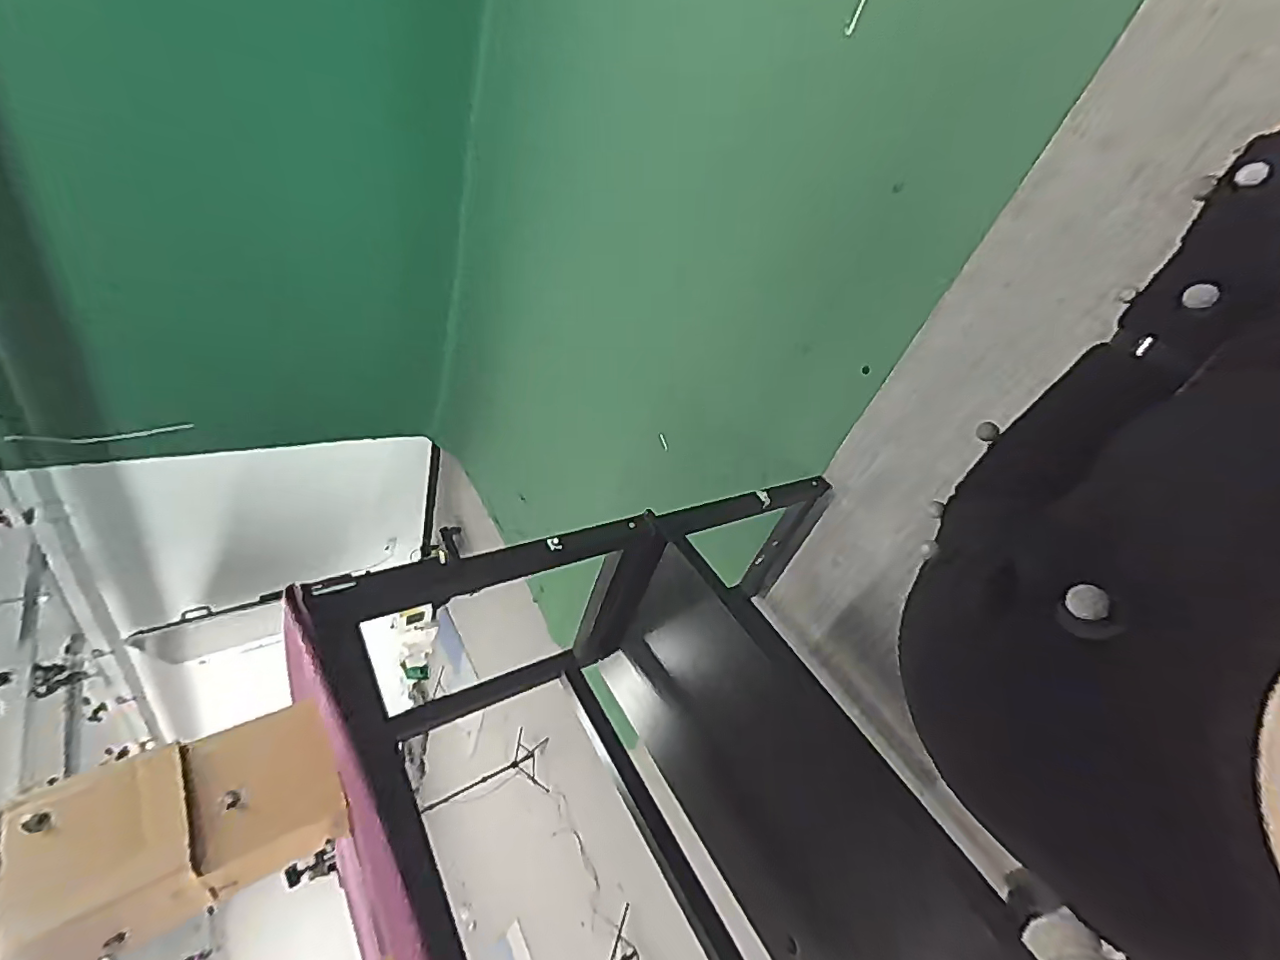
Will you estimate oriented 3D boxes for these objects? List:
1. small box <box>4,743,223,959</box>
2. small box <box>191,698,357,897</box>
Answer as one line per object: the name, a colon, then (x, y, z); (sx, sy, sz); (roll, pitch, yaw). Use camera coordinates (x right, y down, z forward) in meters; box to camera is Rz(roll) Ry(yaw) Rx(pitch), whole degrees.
small box: (-0.650, 0.480, 0.691); (0.179, 0.176, 0.168); (51, 136, 31)
small box: (-0.528, 0.460, 0.797); (0.179, 0.176, 0.168); (54, 138, 28)
